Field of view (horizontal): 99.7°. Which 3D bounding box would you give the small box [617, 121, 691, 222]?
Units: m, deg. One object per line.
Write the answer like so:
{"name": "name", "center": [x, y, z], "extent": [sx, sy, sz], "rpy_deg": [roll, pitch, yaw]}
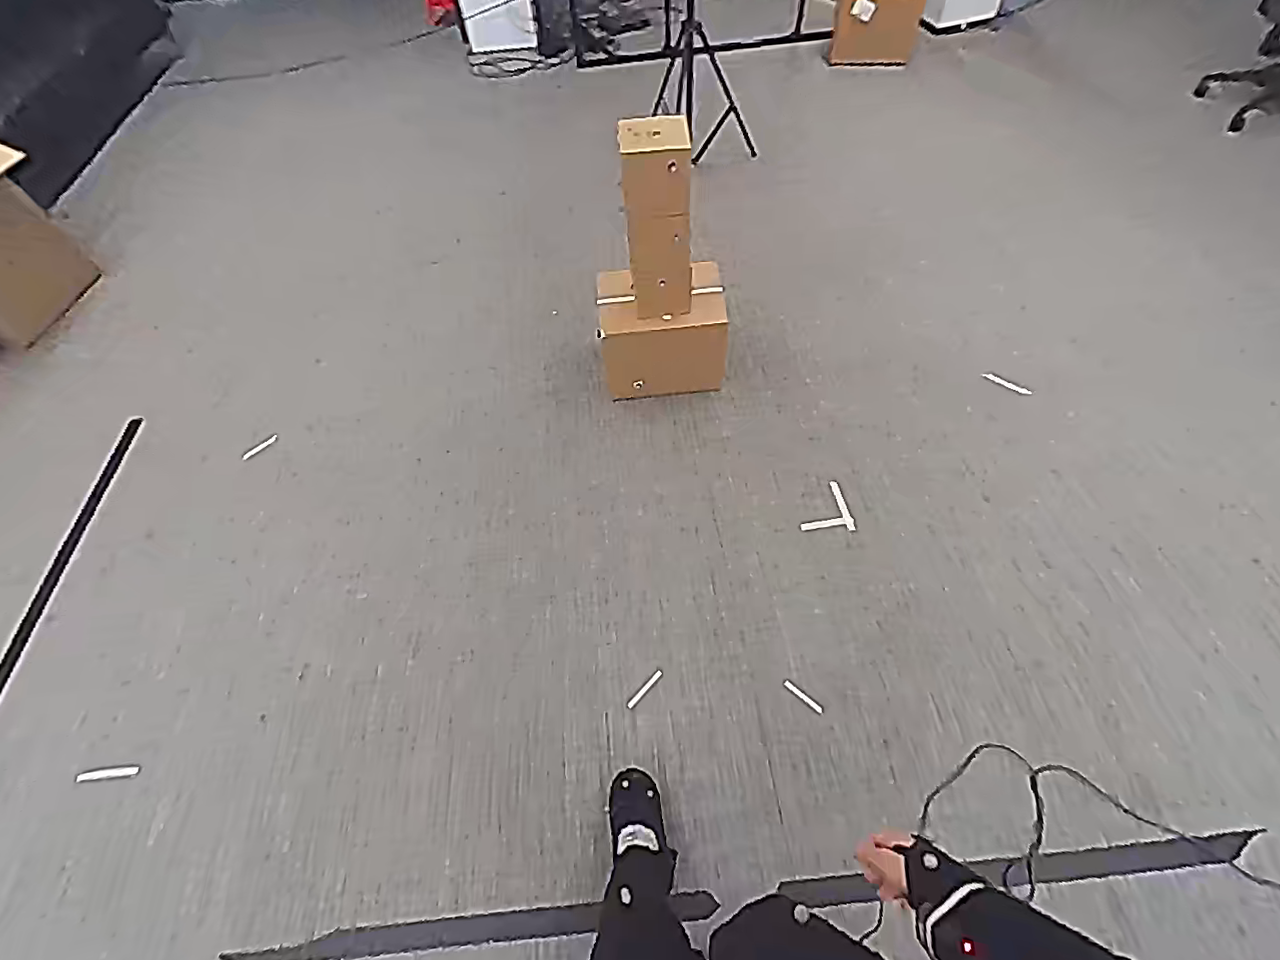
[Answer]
{"name": "small box", "center": [0.035, -0.796, 1.402], "extent": [0.179, 0.176, 0.168], "rpy_deg": [-5, 57, 2]}

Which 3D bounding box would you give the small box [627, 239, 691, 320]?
{"name": "small box", "center": [0.059, -0.617, 1.677], "extent": [0.179, 0.176, 0.168], "rpy_deg": [-7, 58, -1]}
